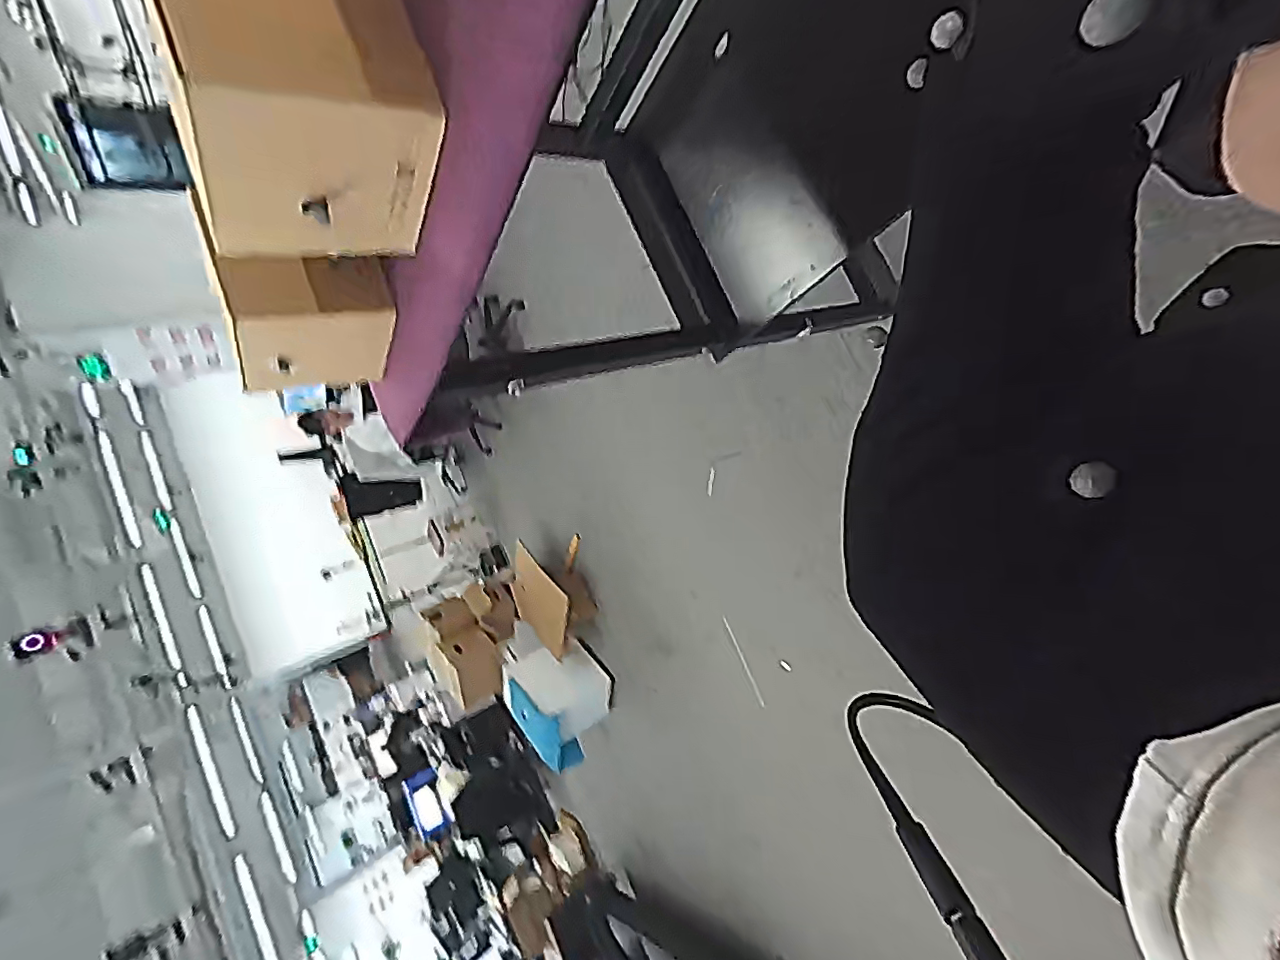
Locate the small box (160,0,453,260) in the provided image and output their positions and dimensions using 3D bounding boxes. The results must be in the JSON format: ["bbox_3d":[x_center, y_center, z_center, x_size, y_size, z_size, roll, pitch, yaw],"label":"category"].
[{"bbox_3d":[-0.274,-0.312,0.454,0.168,0.176,0.179,-32,77,54],"label":"small box"}]

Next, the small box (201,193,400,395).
[{"bbox_3d":[-0.418,-0.225,0.682,0.179,0.176,0.168,-32,78,53],"label":"small box"}]
